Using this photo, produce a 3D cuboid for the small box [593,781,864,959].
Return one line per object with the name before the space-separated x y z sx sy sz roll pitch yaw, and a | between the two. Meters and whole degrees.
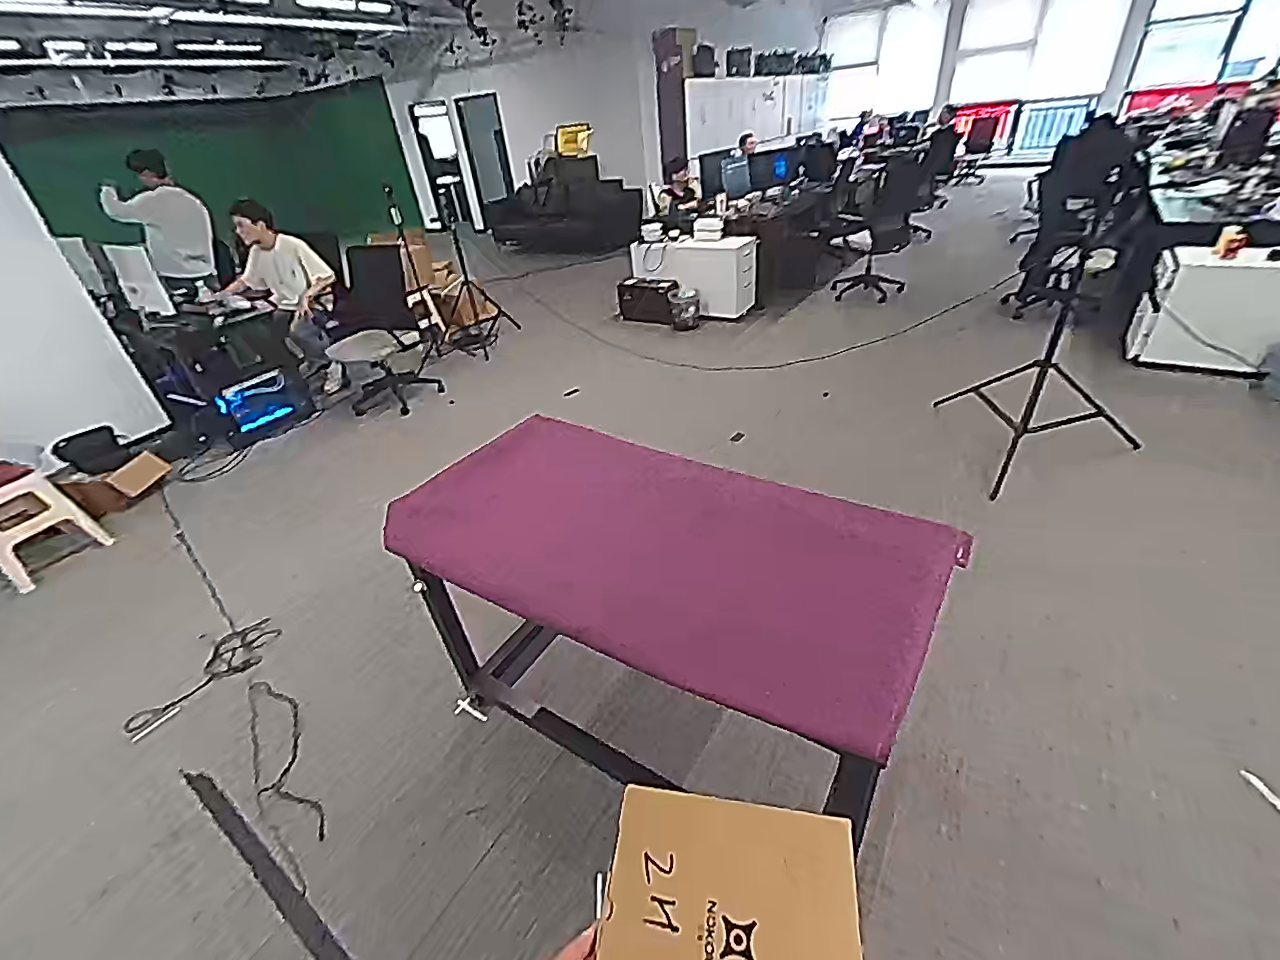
small box | 0.068 0.361 0.416 0.179 0.176 0.168 1 43 13
